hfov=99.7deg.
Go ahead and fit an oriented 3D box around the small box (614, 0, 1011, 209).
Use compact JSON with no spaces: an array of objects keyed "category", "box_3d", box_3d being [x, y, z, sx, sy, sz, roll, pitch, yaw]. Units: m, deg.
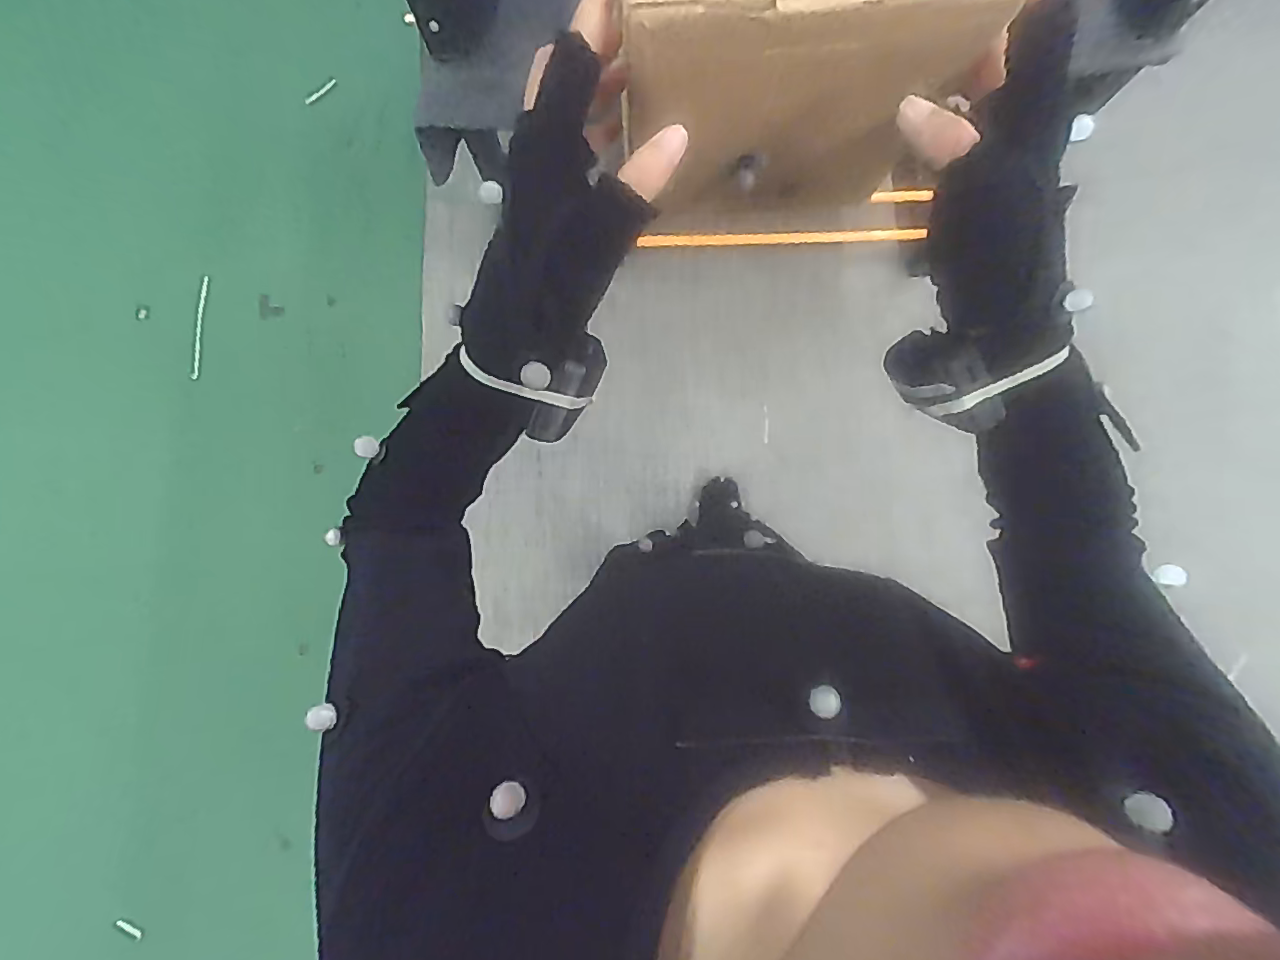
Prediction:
[{"category":"small box","box_3d":[0.069,-0.278,0.292,0.168,0.176,0.179,-4,89,0]}]
